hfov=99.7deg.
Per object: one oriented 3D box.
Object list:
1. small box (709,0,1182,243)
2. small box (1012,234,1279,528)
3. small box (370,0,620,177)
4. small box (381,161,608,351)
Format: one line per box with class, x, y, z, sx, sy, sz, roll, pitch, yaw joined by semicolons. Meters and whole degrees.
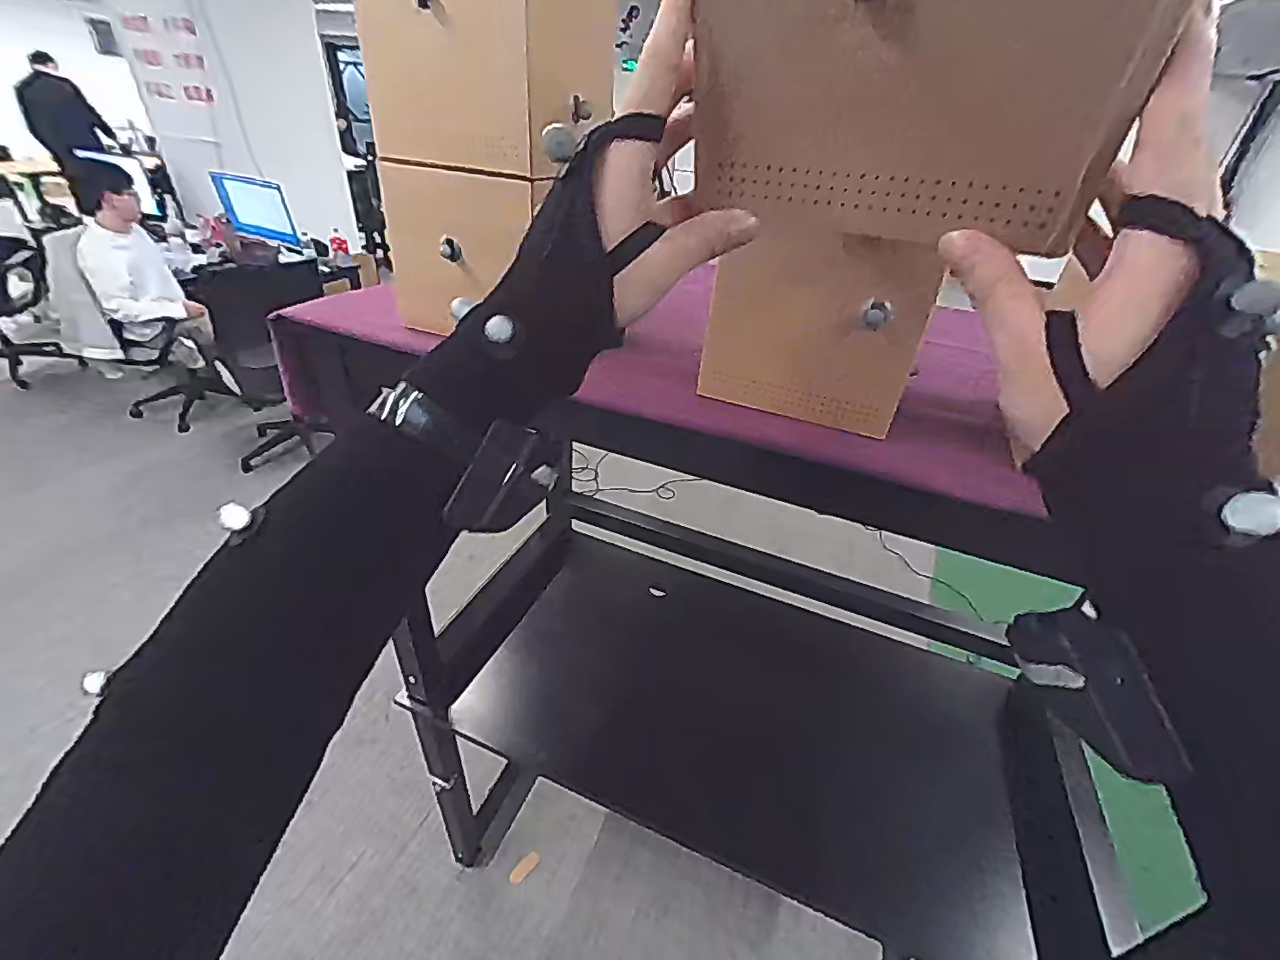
small box;0.138;-0.230;0.251;0.179;0.176;0.168;18;54;23
small box;0.428;-0.086;0.433;0.179;0.176;0.168;18;38;18
small box;-0.134;-0.394;0.520;0.179;0.176;0.168;17;35;16
small box;-0.149;-0.257;0.610;0.179;0.176;0.168;15;34;15
